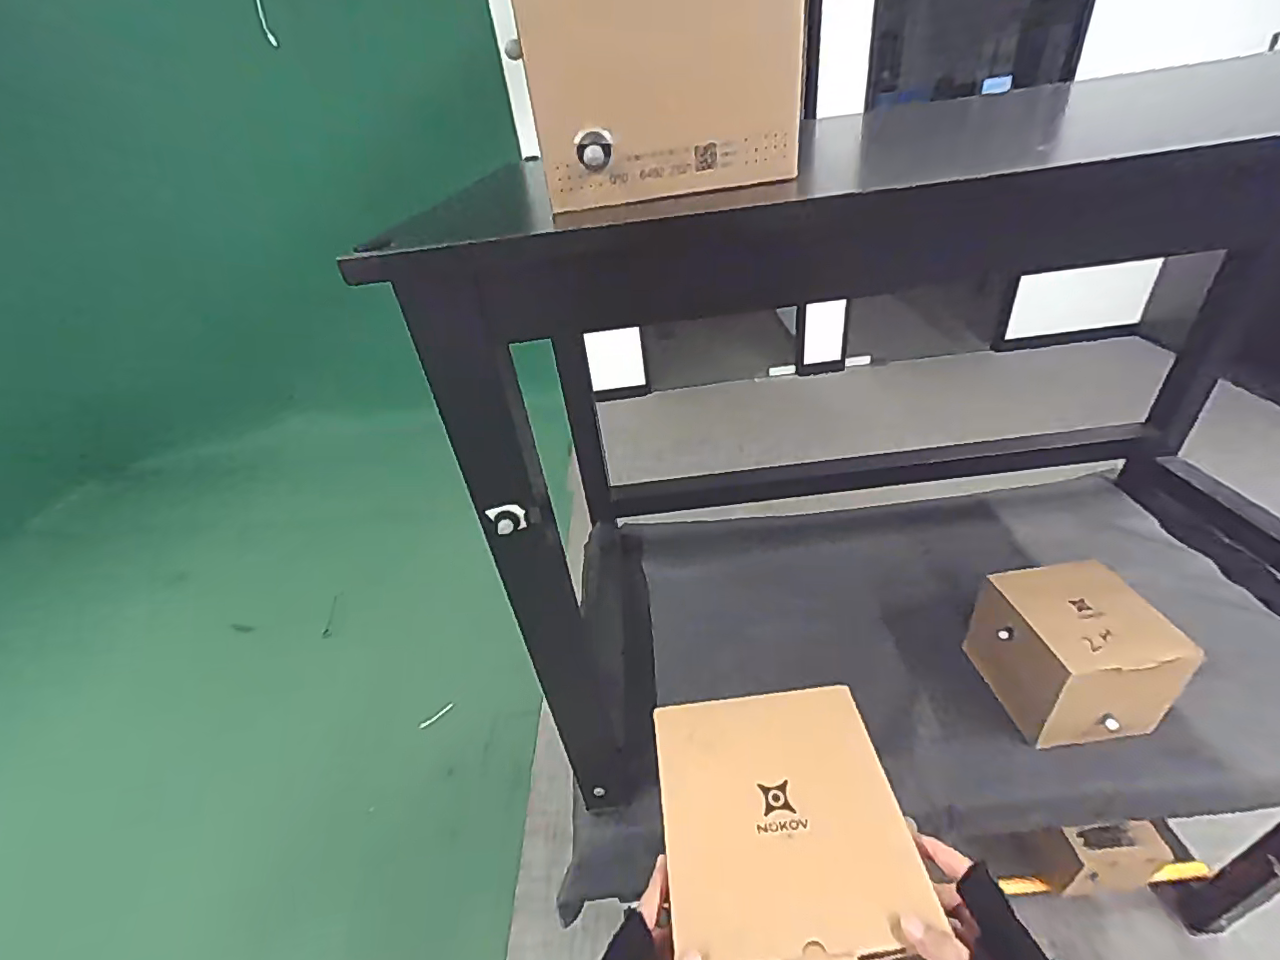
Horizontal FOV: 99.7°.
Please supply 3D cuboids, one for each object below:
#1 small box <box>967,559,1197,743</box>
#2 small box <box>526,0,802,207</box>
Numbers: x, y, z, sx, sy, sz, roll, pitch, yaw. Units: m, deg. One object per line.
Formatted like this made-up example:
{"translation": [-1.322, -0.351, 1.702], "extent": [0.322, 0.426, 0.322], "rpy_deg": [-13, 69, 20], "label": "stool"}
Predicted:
{"translation": [0.604, 0.241, 0.773], "extent": [0.168, 0.176, 0.179], "rpy_deg": [-9, 33, 1], "label": "small box"}
{"translation": [0.012, -0.303, 0.388], "extent": [0.168, 0.176, 0.179], "rpy_deg": [-9, 34, -2], "label": "small box"}
